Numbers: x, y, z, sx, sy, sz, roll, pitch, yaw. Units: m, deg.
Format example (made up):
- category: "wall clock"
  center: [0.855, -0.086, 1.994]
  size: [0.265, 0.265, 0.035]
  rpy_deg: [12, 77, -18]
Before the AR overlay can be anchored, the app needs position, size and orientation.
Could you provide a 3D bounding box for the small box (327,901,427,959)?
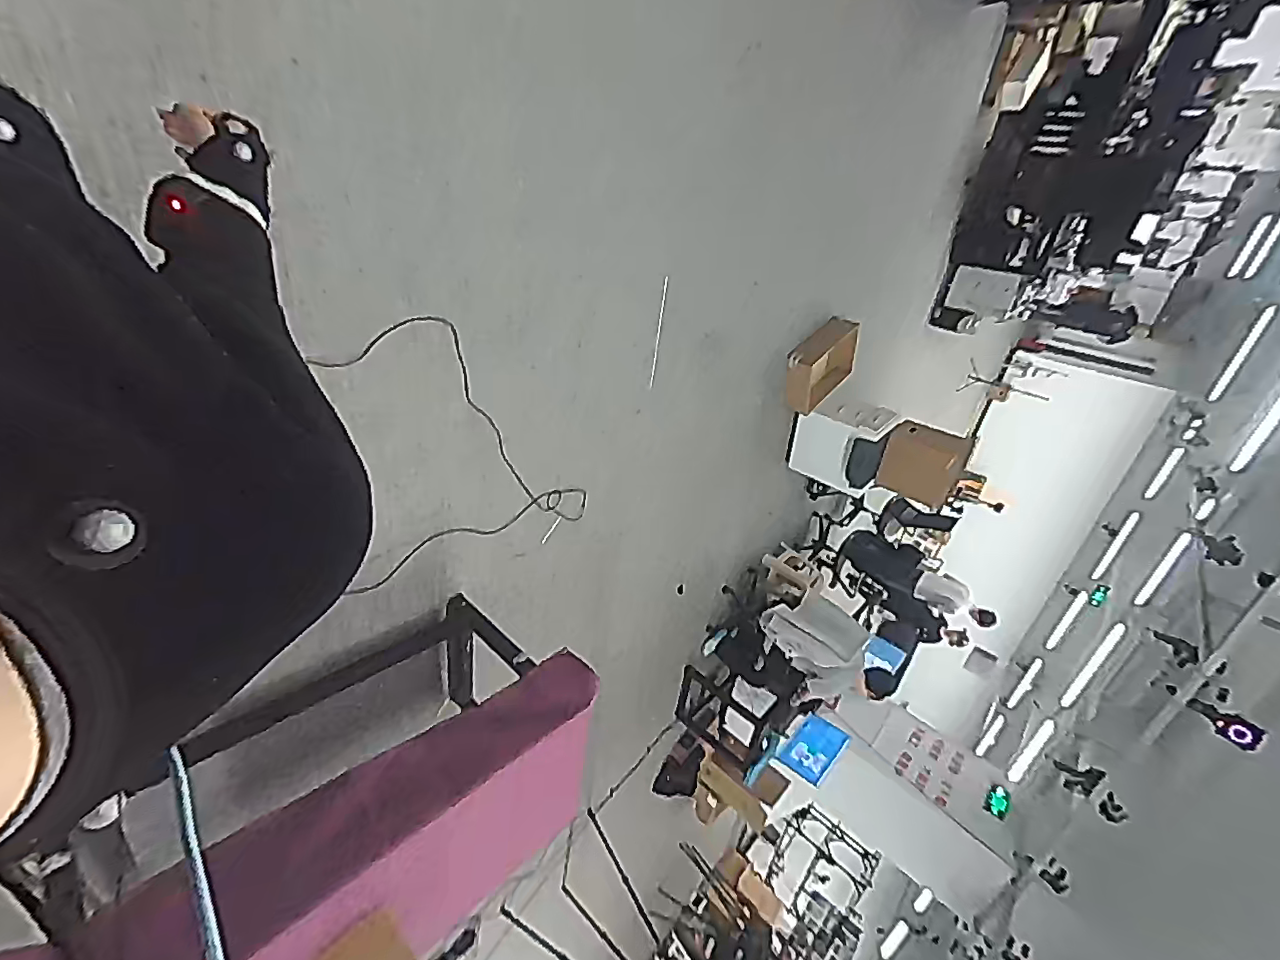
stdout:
- category: "small box"
  center: [-0.627, 1.171, 1.283]
  size: [0.179, 0.176, 0.168]
  rpy_deg: [-19, 129, -45]
